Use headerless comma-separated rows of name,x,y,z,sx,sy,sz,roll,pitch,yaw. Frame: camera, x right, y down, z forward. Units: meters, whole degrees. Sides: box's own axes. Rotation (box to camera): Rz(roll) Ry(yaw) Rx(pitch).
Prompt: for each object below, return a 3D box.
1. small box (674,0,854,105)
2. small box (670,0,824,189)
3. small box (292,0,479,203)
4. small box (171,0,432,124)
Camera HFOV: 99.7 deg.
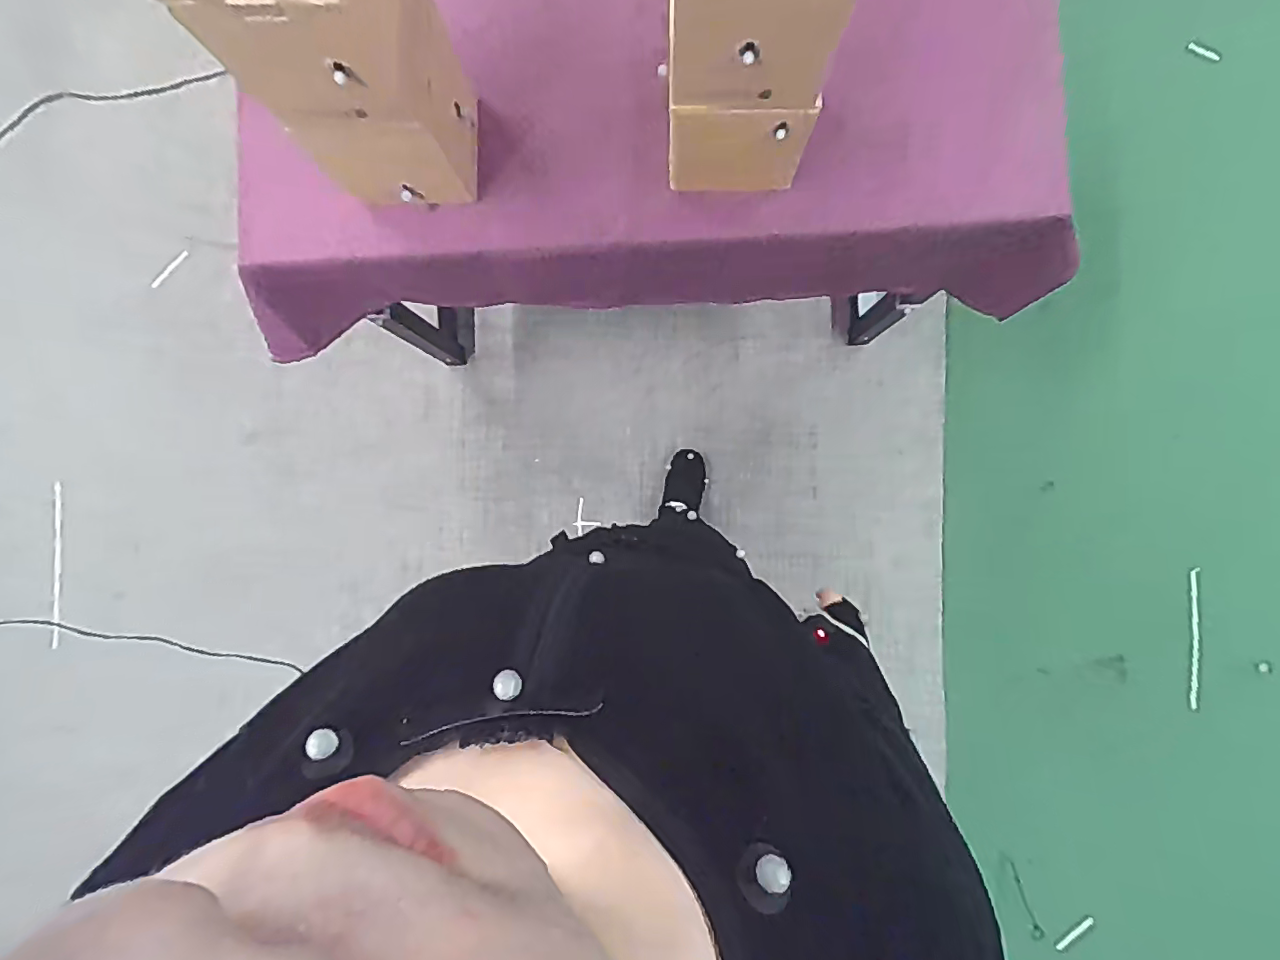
small box,0.121,-0.511,0.536,0.168,0.176,0.179,3,88,2
small box,0.129,-0.501,0.700,0.179,0.176,0.168,1,89,3
small box,-0.323,-0.492,0.720,0.179,0.176,0.168,0,88,2
small box,-0.329,-0.502,0.557,0.168,0.176,0.179,2,88,2
